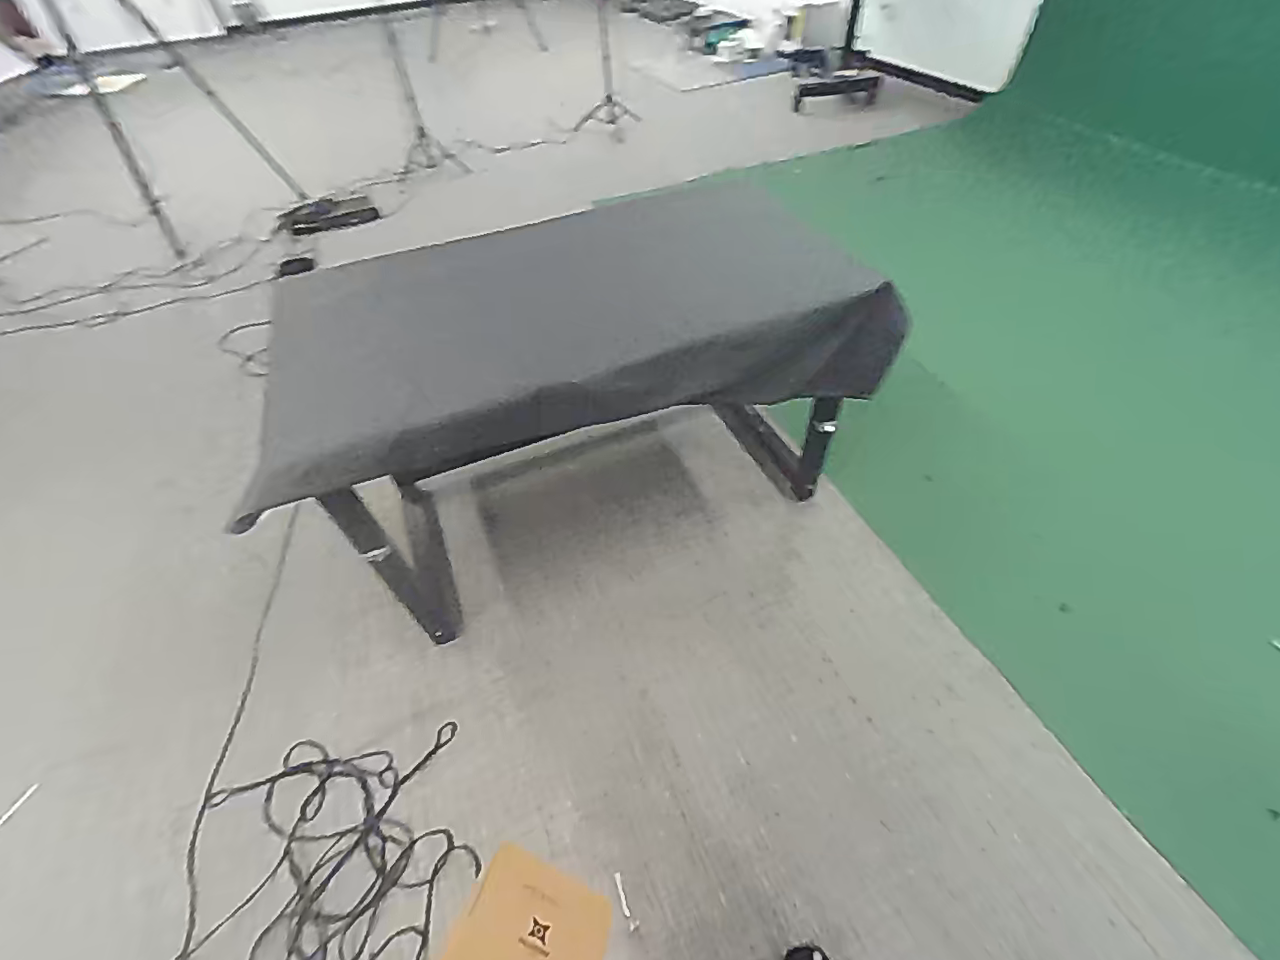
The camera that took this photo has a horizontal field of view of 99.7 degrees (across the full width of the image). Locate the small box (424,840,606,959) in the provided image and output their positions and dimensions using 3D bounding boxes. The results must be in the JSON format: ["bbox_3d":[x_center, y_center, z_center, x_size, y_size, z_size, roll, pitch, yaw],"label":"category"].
[{"bbox_3d":[-0.157,0.566,0.599,0.168,0.179,0.176,30,98,-1],"label":"small box"}]
